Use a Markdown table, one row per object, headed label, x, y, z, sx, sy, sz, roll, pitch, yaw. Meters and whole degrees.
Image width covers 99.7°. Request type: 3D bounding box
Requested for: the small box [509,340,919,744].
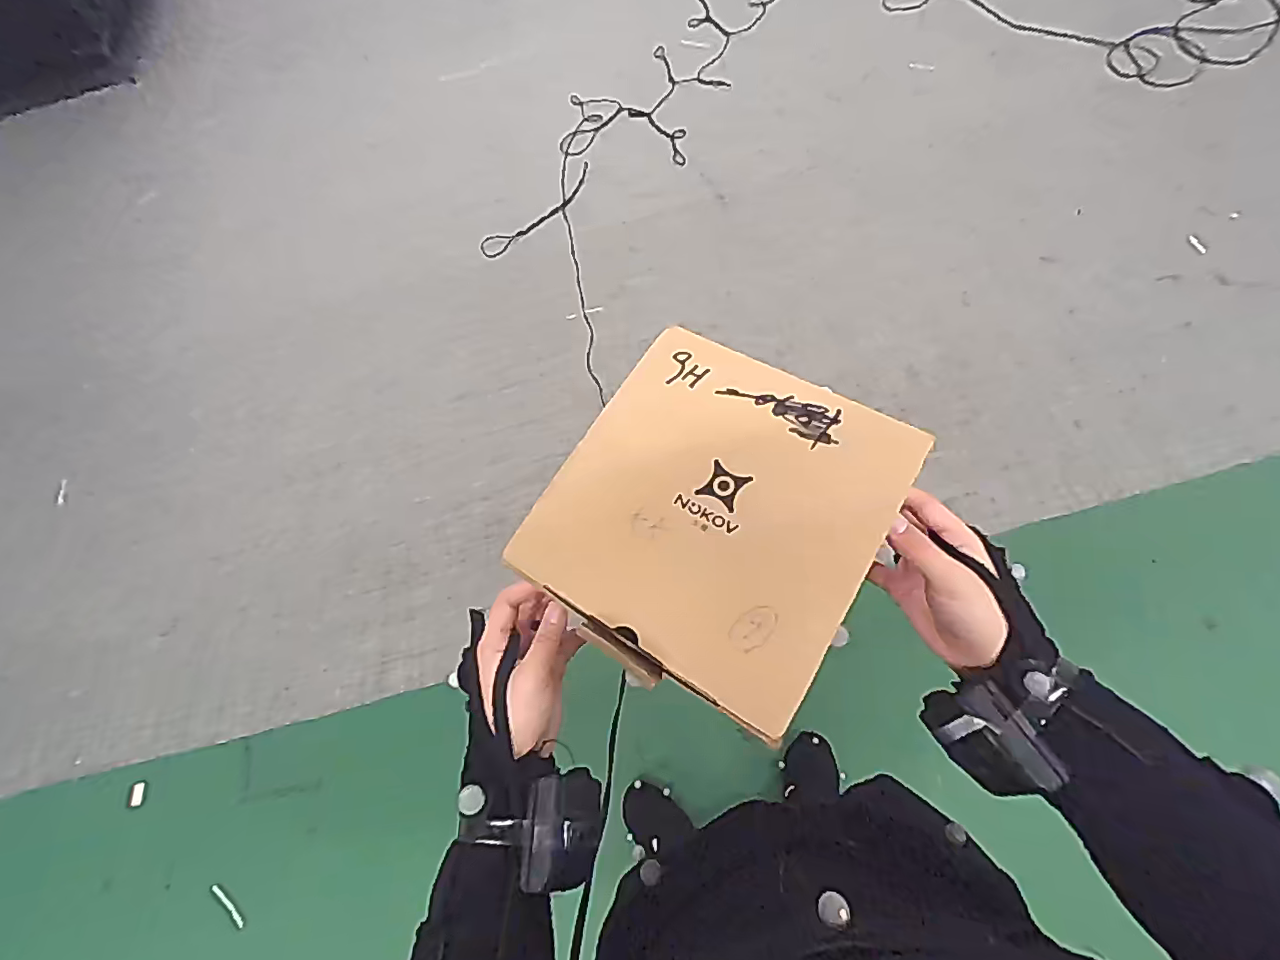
| label | x | y | z | sx | sy | sz | roll | pitch | yaw |
| --- | --- | --- | --- | --- | --- | --- | --- | --- | --- |
| small box | 0.051 | 0.047 | 0.366 | 0.168 | 0.176 | 0.179 | 29 | 74 | 19 |
